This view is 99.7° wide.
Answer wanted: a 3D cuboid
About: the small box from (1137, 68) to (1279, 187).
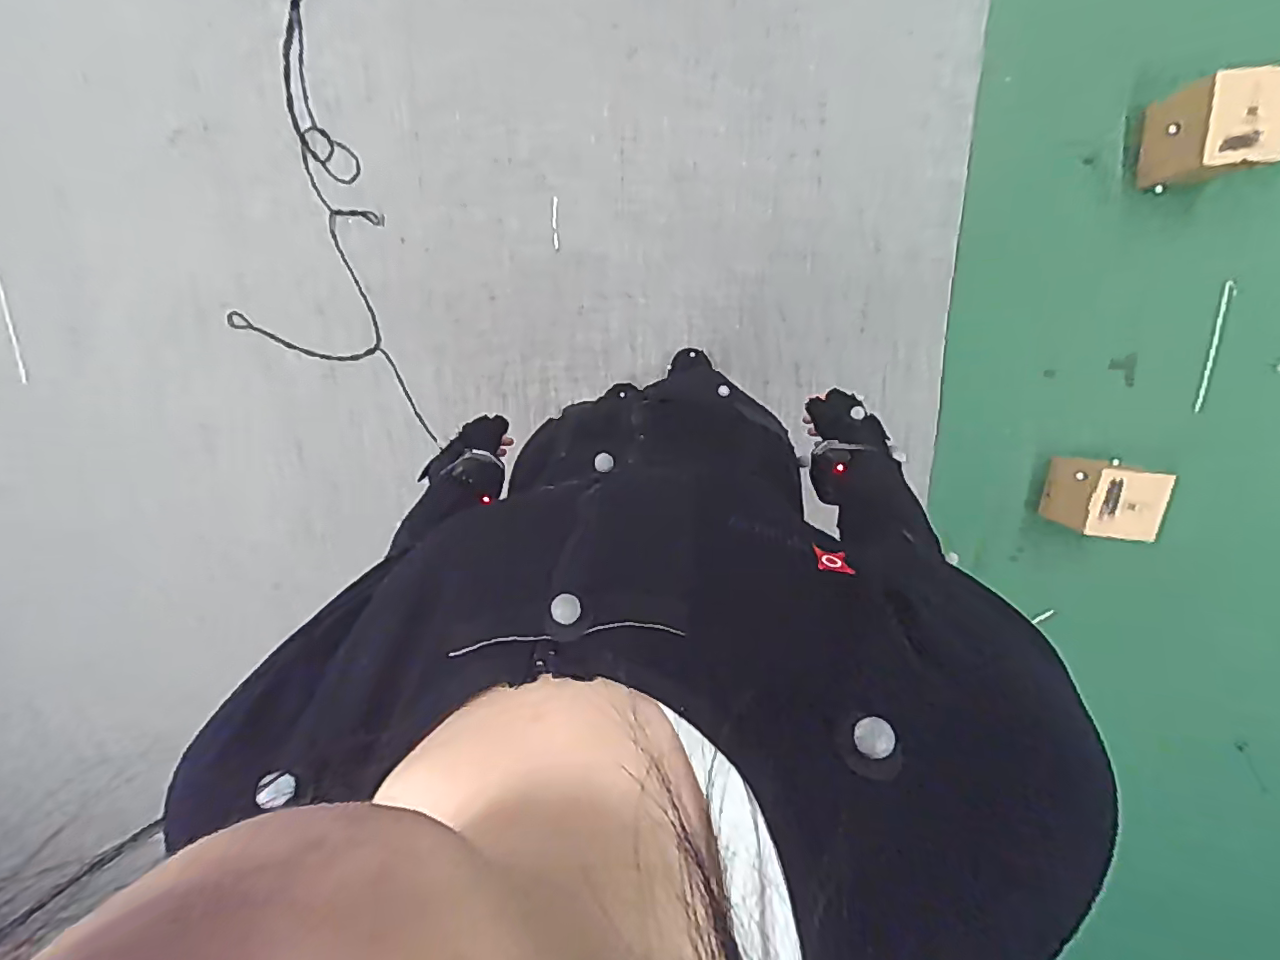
[{"bbox_3d":[1.238,-0.751,1.171,0.168,0.176,0.179,-2,102,3],"label":"small box"}]
